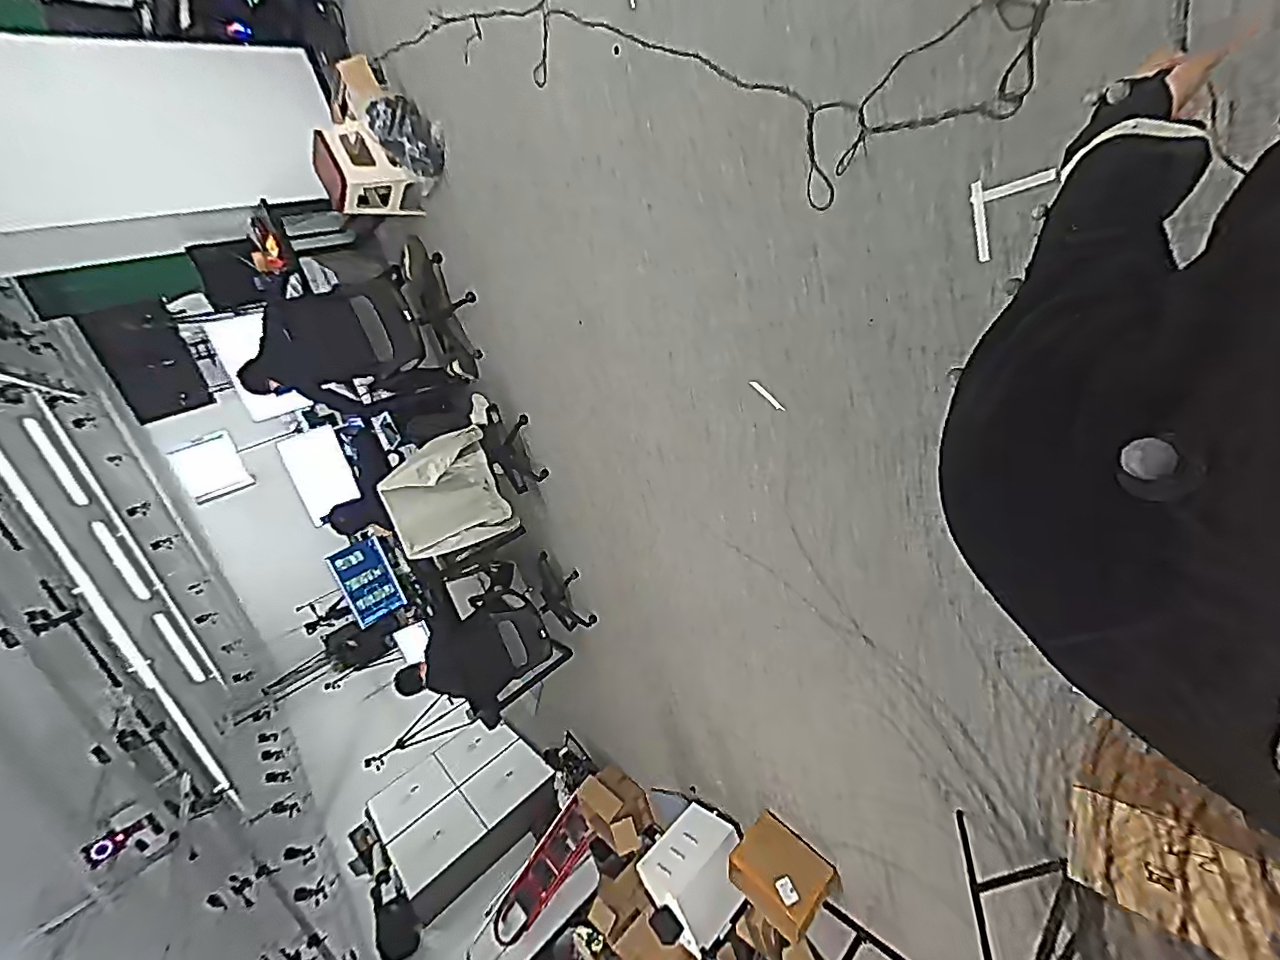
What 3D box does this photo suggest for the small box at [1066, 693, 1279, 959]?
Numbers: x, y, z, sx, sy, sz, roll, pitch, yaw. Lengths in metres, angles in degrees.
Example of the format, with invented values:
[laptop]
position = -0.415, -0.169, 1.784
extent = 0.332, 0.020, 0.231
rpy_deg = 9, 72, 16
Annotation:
[small box]
position = 0.639, 0.400, 0.649
extent = 0.168, 0.176, 0.179
rpy_deg = 10, 122, 49
